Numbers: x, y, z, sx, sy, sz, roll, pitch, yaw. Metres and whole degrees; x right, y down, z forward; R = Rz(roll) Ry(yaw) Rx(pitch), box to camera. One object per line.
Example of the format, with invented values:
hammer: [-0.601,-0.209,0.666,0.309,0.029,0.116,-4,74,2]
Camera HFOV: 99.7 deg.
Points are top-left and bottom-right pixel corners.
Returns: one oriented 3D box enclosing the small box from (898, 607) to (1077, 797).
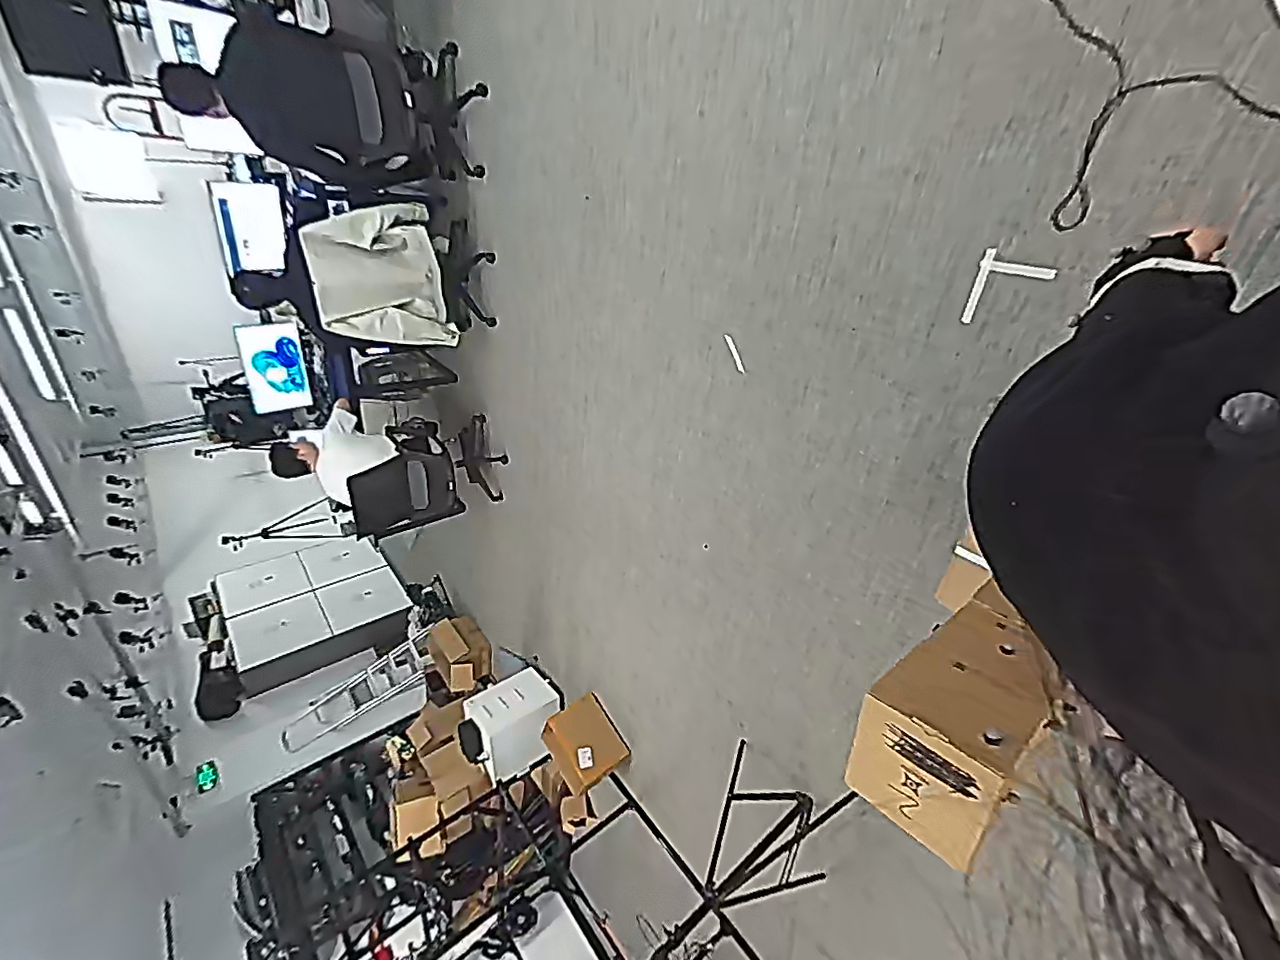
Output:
small box: [0.533,0.326,0.831,0.168,0.176,0.179,28,125,45]

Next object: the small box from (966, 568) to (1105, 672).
small box: [0.657,0.279,0.930,0.168,0.176,0.179,32,129,42]
